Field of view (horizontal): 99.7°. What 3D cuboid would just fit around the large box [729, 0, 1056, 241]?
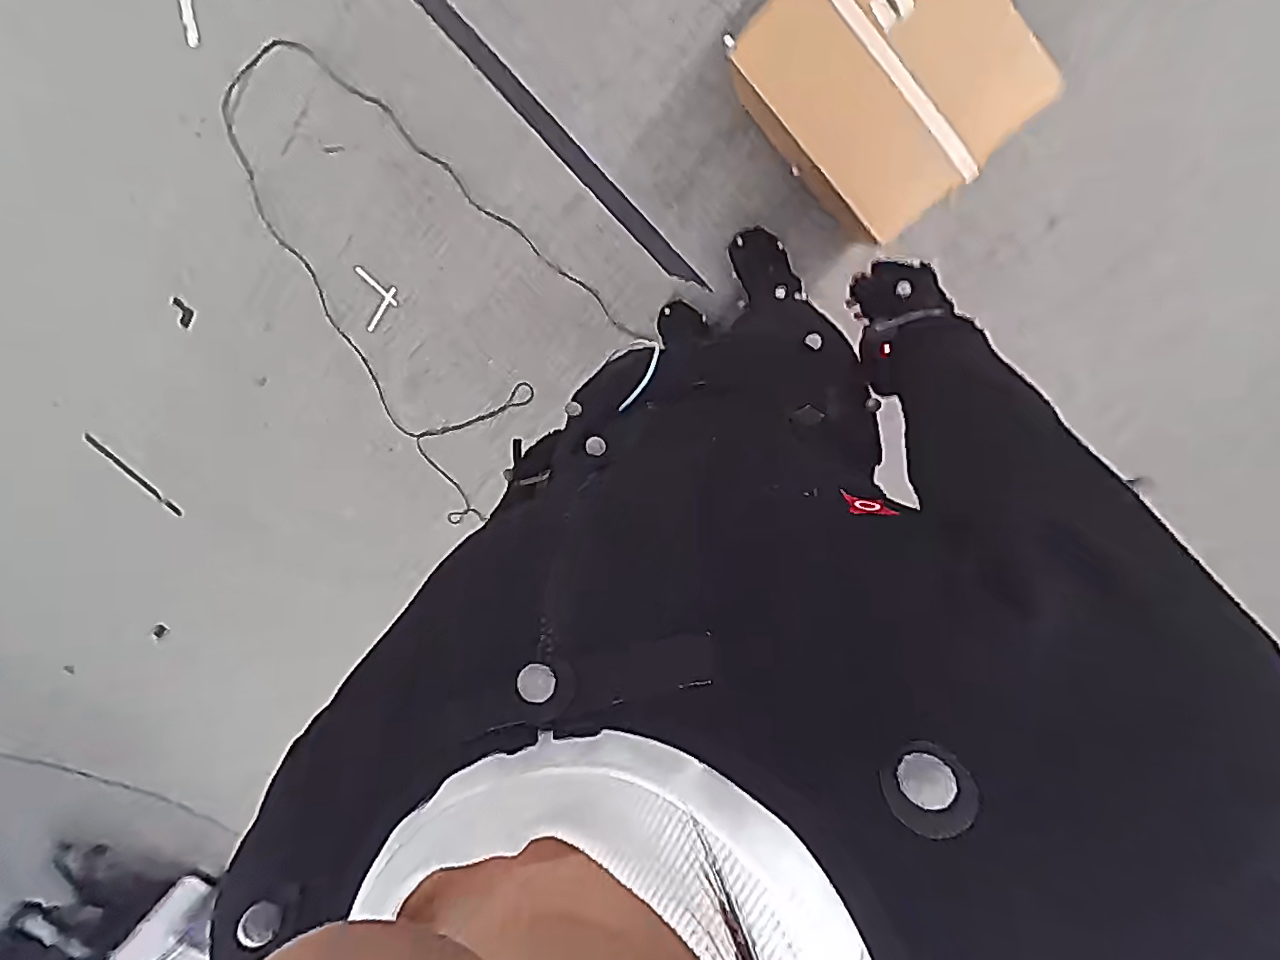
[{"bbox_3d":[0.416,-0.699,0.976,0.408,0.320,0.320,45,115,-9],"label":"large box"}]
